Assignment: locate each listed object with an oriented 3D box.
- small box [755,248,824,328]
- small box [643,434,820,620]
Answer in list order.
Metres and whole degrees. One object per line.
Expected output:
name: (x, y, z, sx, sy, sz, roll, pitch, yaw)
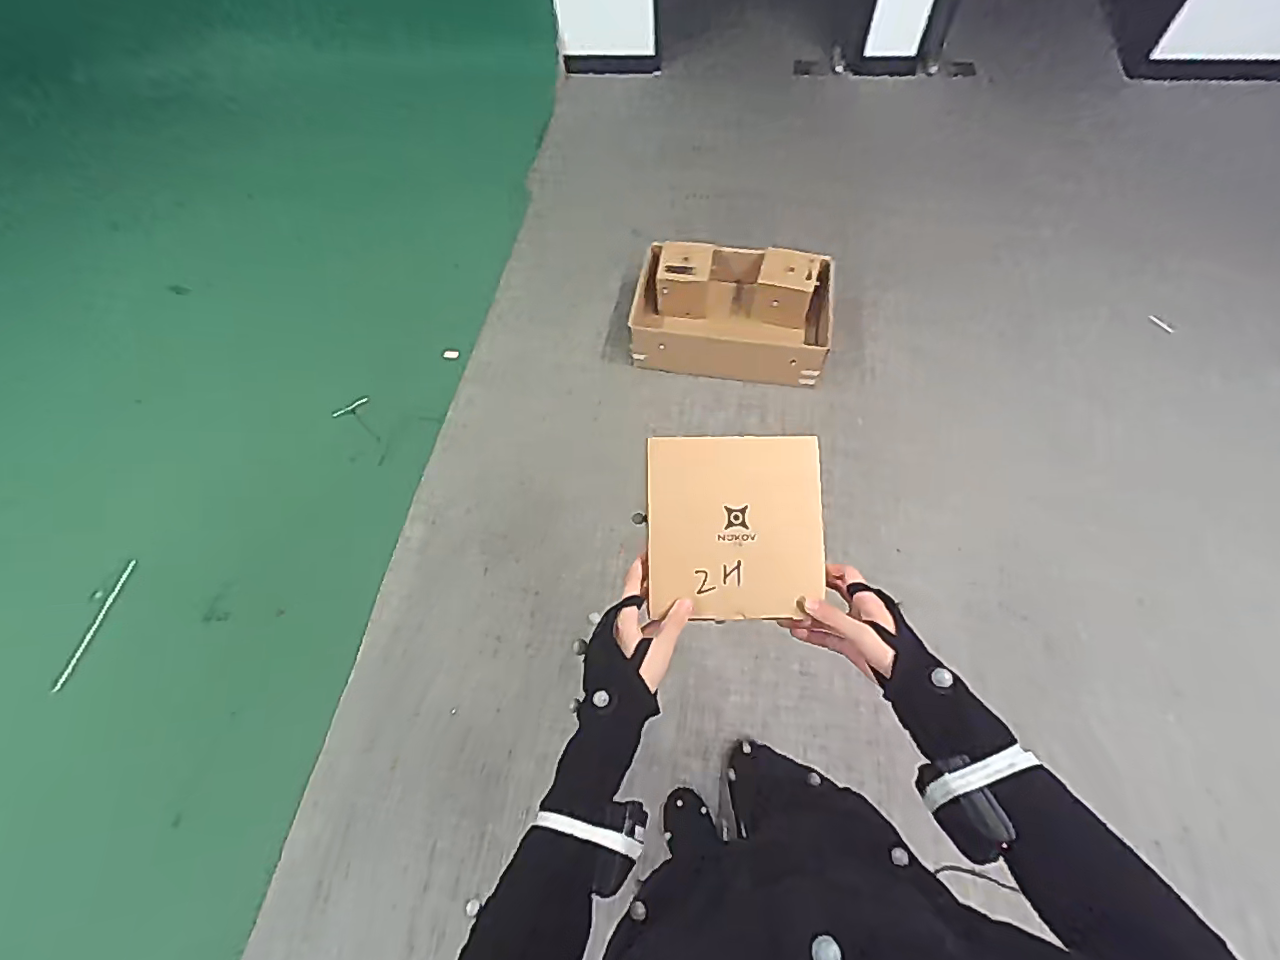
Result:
small box: (0.483, -0.624, 1.769, 0.179, 0.176, 0.168, 15, 66, 14)
small box: (0.087, 0.054, 0.588, 0.168, 0.176, 0.179, 0, 83, 1)
